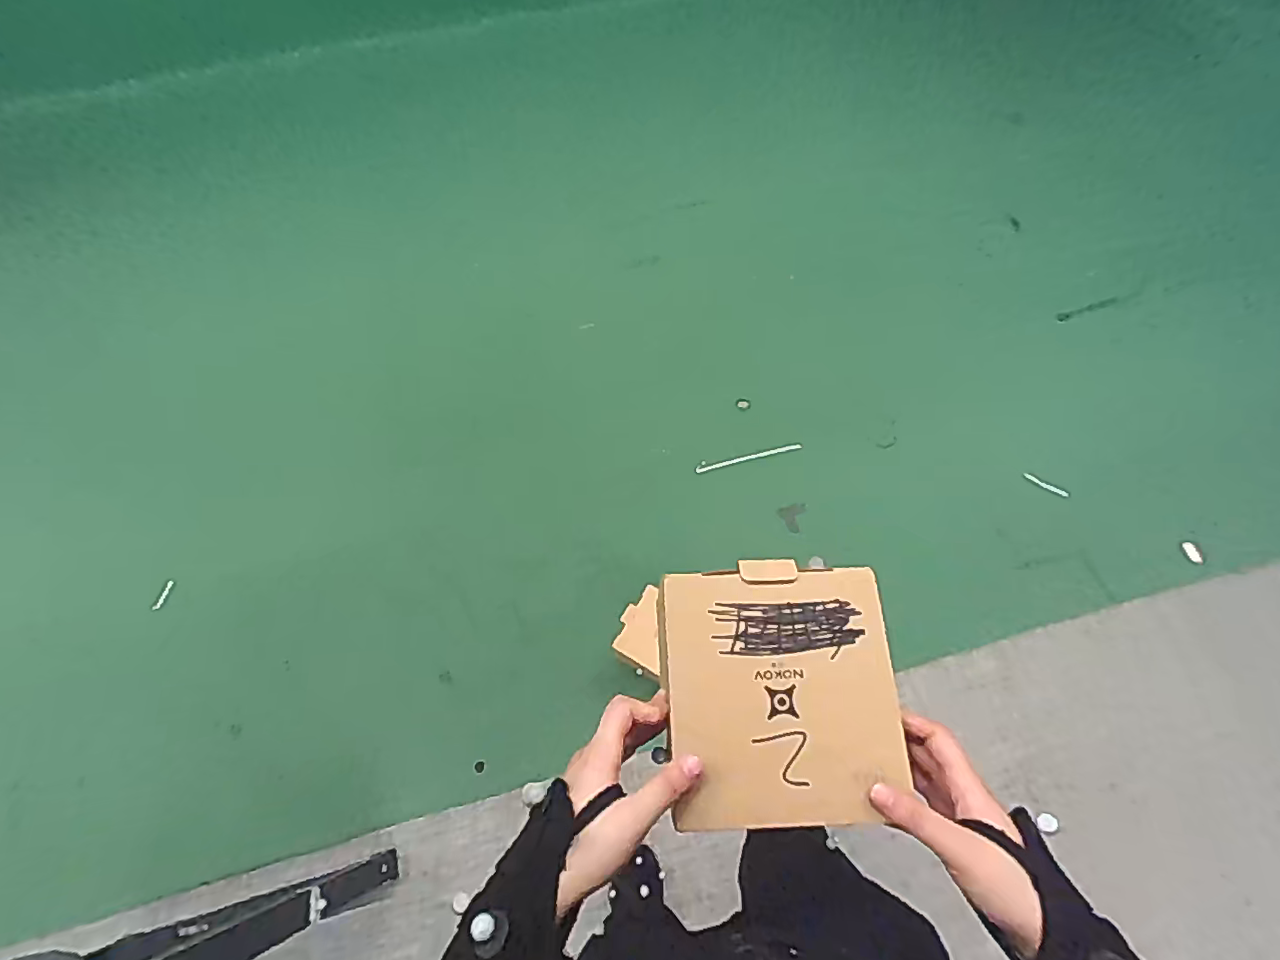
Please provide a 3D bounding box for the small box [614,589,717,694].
[{"bbox_3d":[0.060,0.383,1.265,0.179,0.176,0.168,27,69,14],"label":"small box"}]
